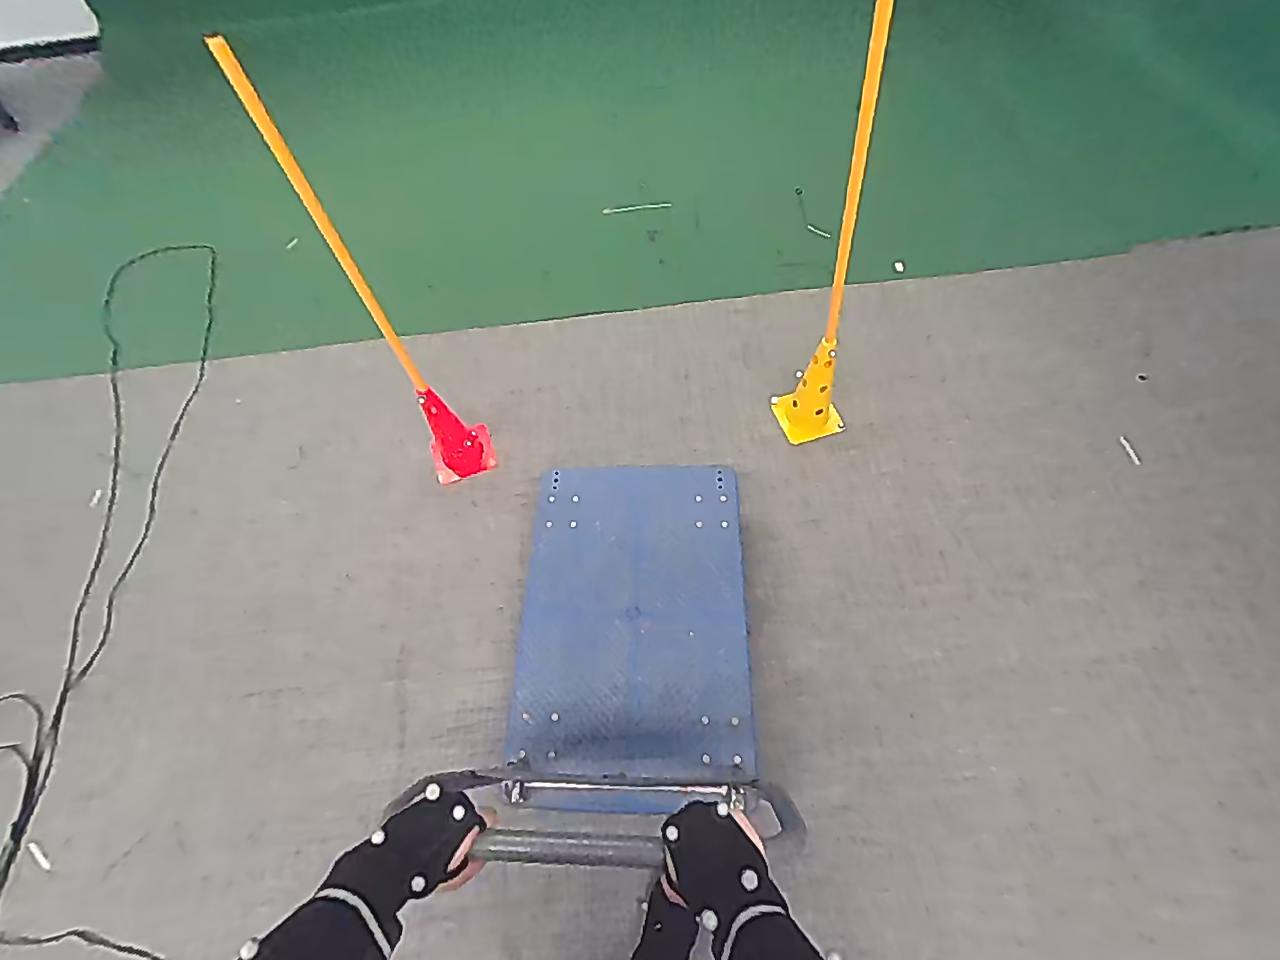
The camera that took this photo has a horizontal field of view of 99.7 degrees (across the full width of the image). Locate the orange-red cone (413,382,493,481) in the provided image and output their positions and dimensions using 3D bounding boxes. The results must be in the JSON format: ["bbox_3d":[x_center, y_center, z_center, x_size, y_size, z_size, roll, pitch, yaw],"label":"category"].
[{"bbox_3d":[-0.625,-0.180,1.703,0.199,0.360,0.198,-20,60,-6],"label":"orange-red cone"}]
